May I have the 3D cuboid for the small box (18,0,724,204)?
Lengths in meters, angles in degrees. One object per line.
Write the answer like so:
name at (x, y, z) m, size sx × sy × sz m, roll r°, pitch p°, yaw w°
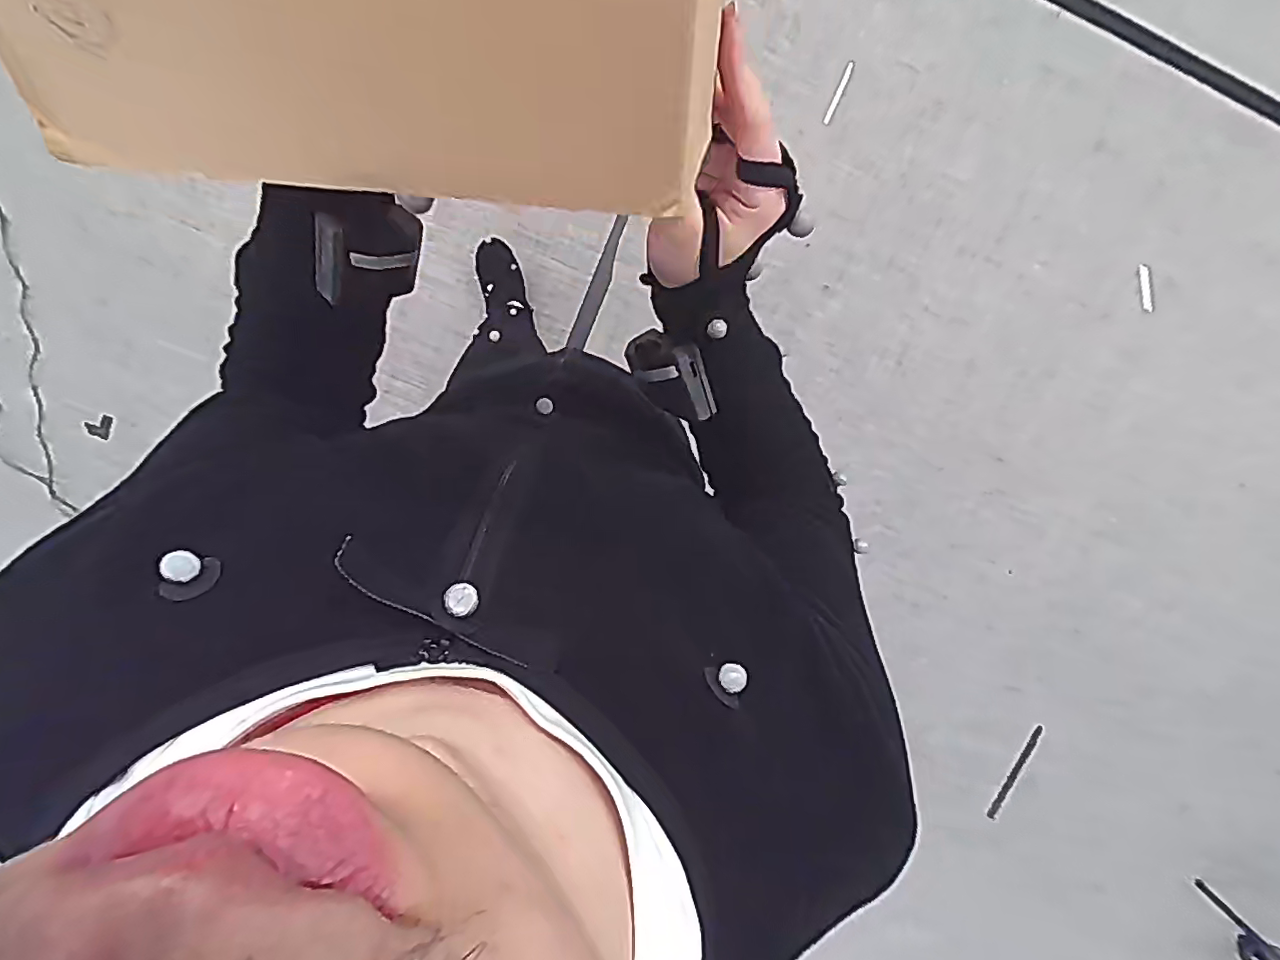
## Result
small box at (-0.060, -0.198, 0.163) m, size 0.179 × 0.176 × 0.168 m, roll 7°, pitch 130°, yaw 5°
